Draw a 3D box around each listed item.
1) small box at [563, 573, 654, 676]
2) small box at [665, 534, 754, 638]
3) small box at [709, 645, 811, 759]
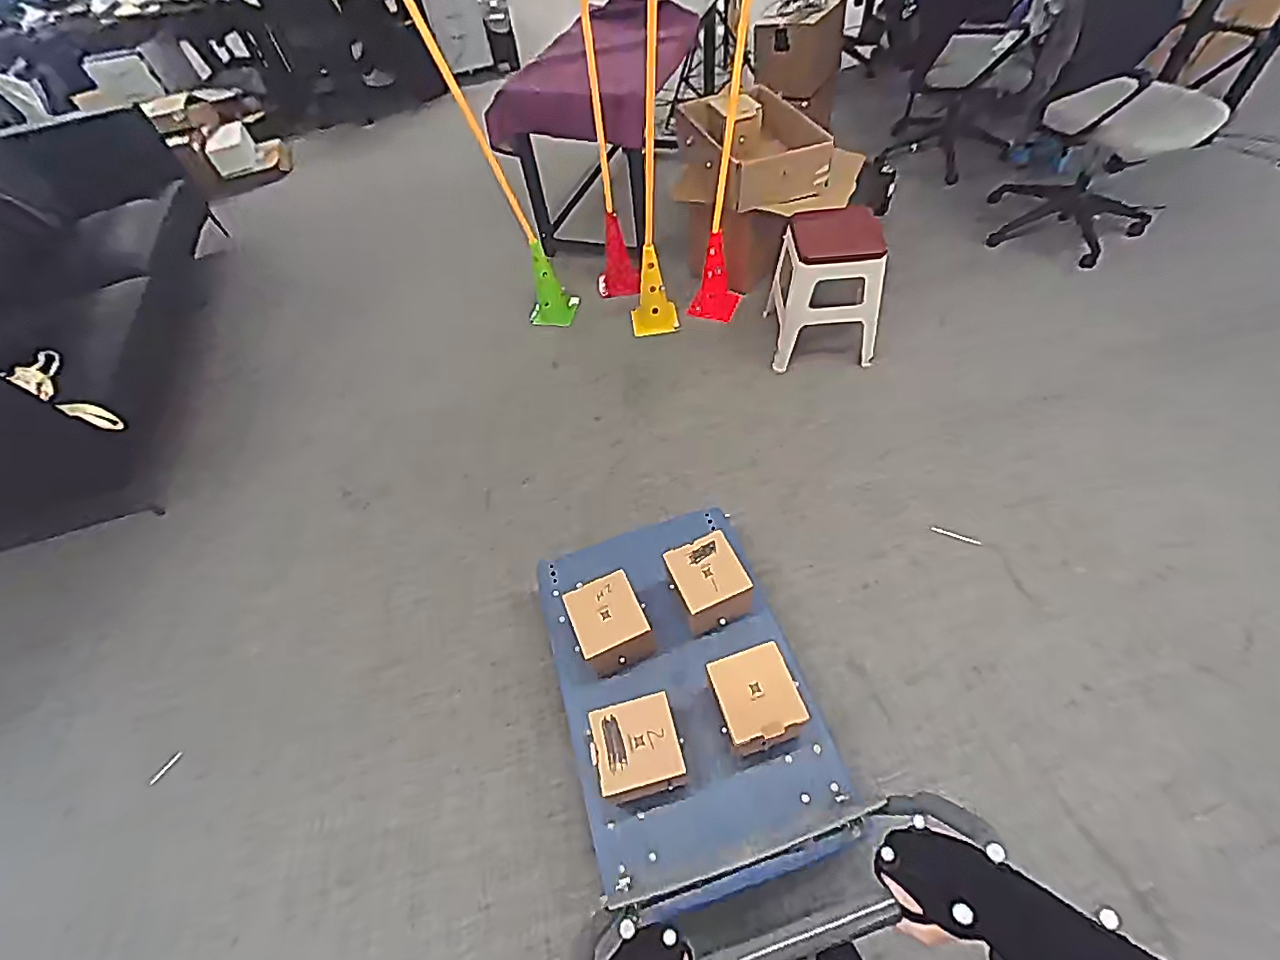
[{"bbox_3d":[-0.074,0.369,1.350,0.168,0.176,0.179,-22,55,-9],"label":"small box"},{"bbox_3d":[0.173,0.274,1.385,0.168,0.176,0.179,-22,56,-8],"label":"small box"},{"bbox_3d":[0.258,0.502,1.216,0.168,0.176,0.179,-18,55,-5],"label":"small box"}]
